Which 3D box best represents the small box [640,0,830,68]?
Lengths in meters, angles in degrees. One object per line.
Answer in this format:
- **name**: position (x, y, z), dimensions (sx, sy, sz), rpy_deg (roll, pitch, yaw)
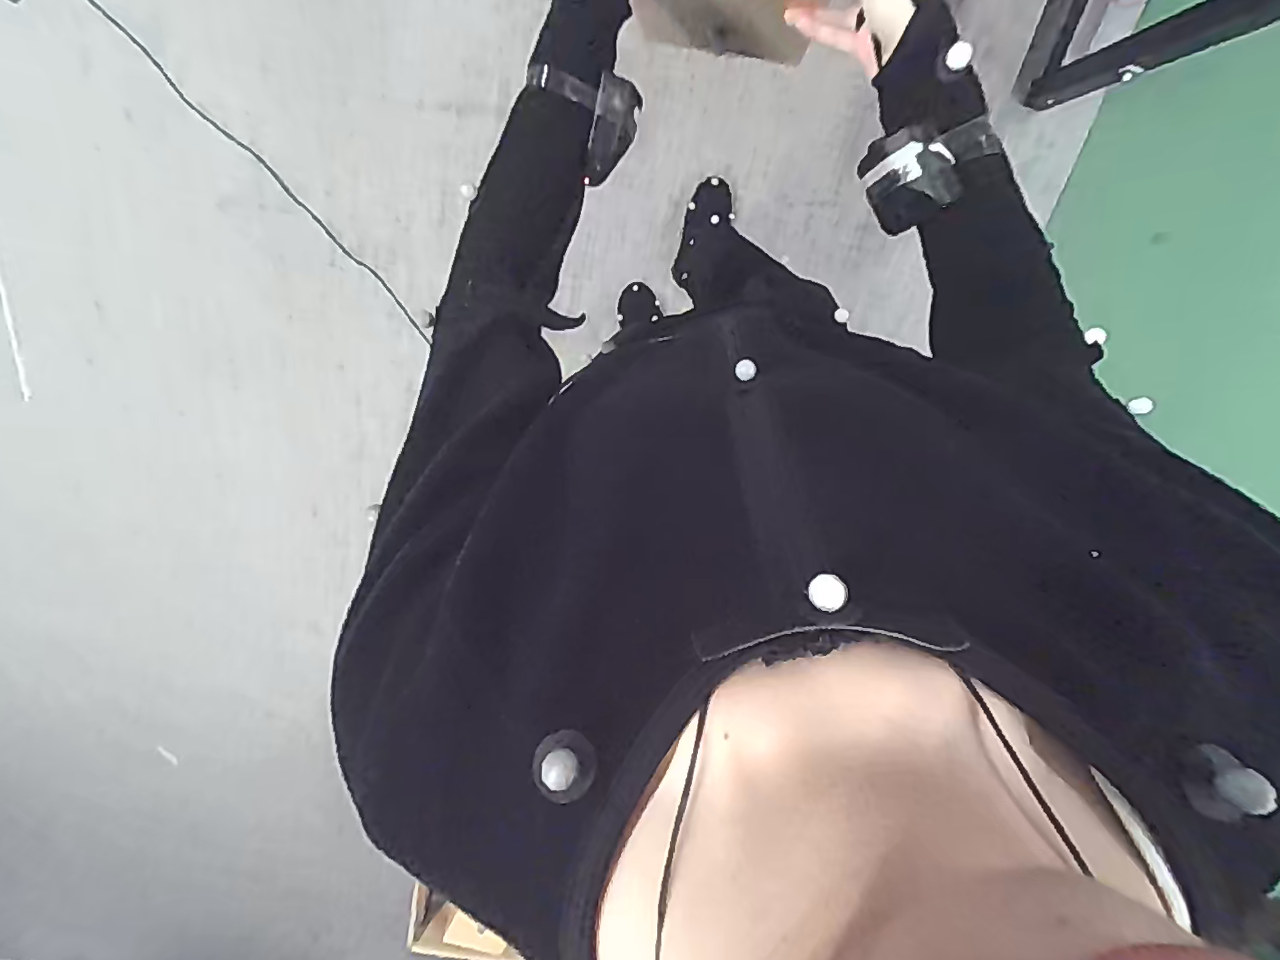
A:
- **small box**: position (0.088, -0.485, 0.446), dimensions (0.168, 0.176, 0.179), rpy_deg (12, 111, 3)
